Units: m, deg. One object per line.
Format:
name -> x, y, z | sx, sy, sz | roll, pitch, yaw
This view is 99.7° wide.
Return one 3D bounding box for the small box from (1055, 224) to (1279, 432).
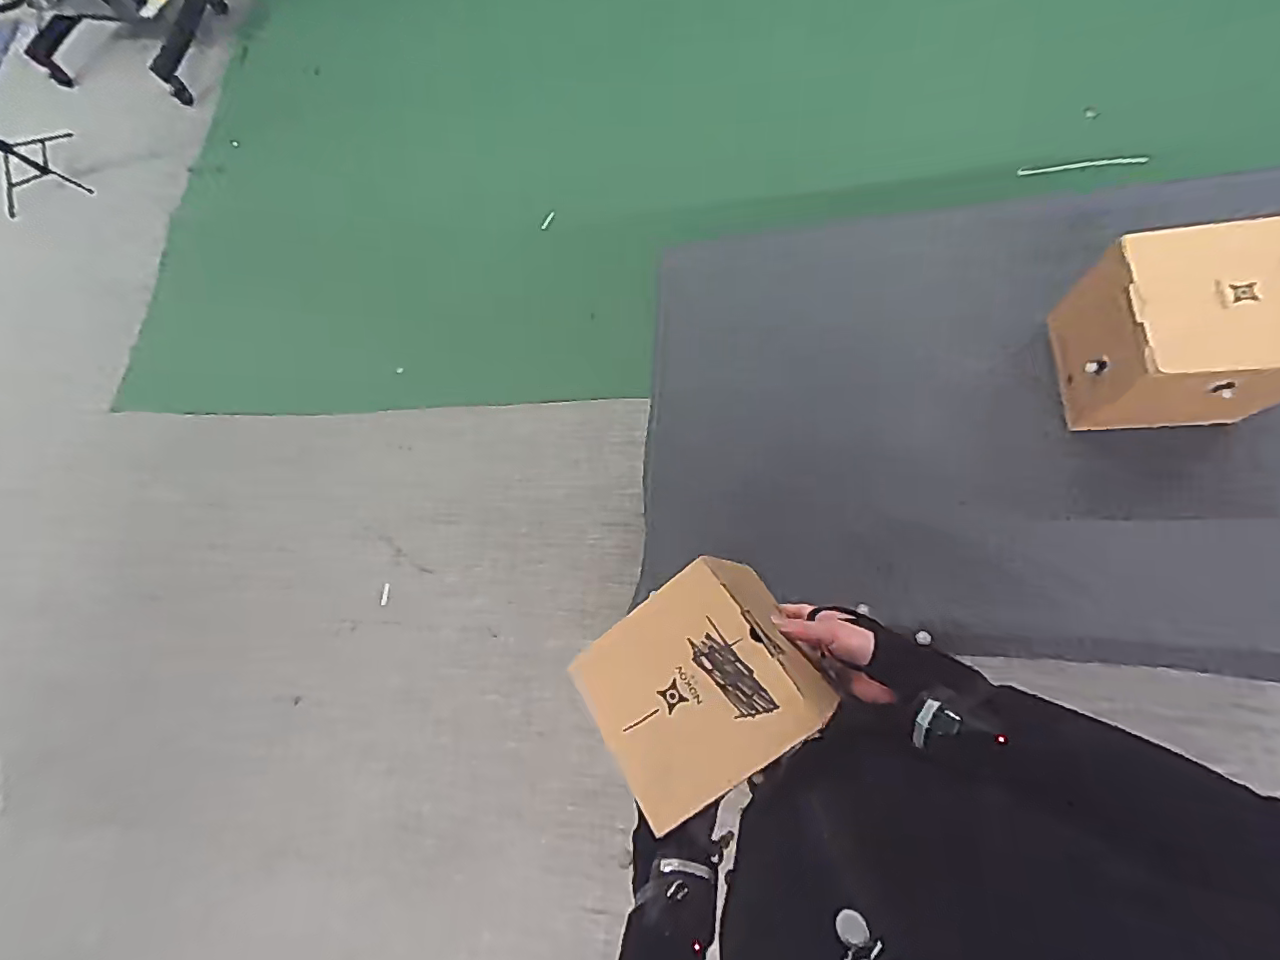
small box -> 0.612, -0.159, 0.615 | 0.179, 0.176, 0.168 | -2, 75, 11
